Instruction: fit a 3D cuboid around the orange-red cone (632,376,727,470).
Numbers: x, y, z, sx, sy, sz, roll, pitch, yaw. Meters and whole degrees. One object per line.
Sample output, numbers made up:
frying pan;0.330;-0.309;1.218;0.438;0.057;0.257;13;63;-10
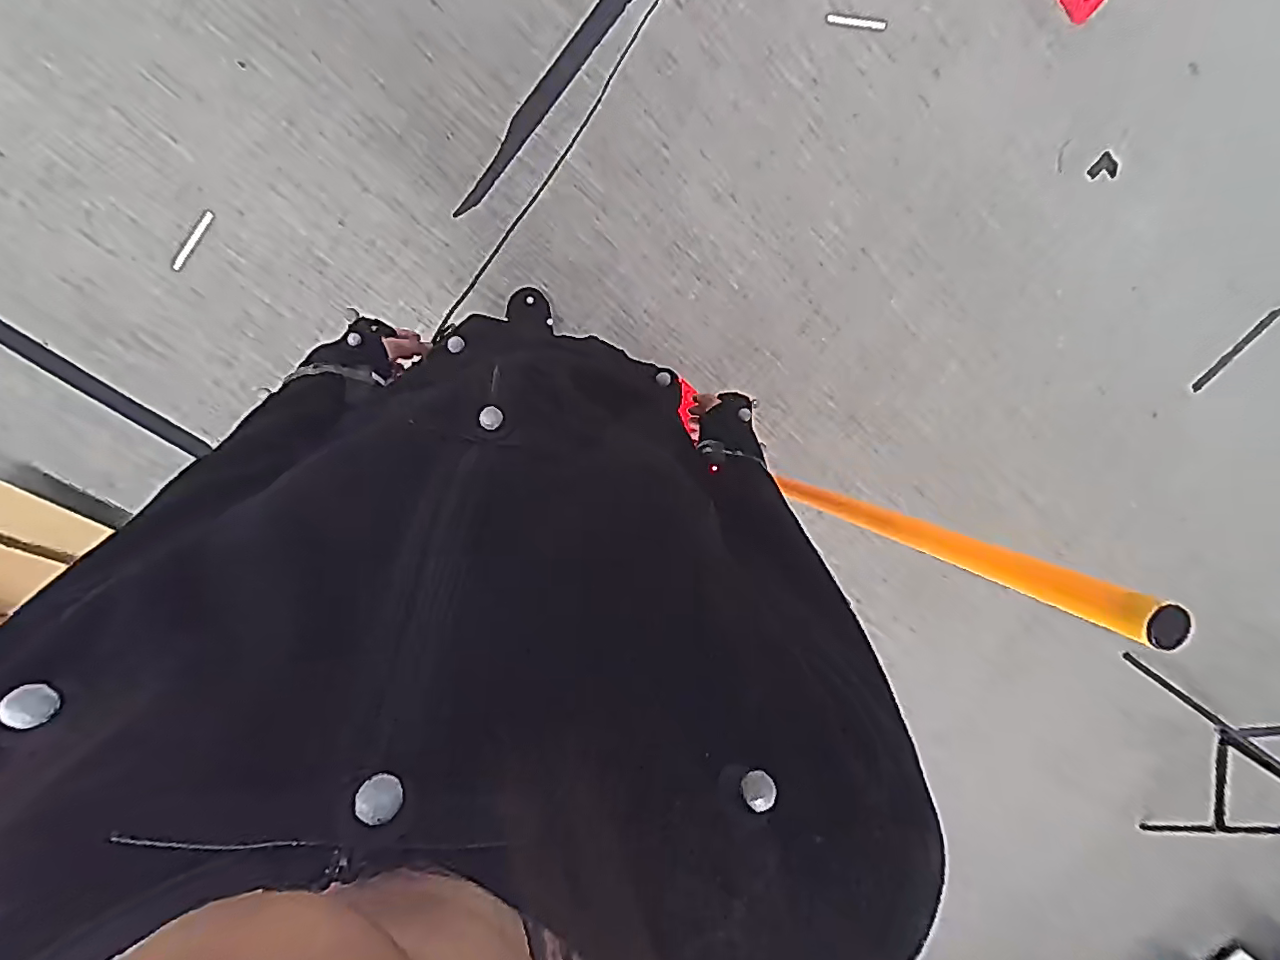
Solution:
orange-red cone;0.124;-0.094;1.252;0.198;0.360;0.199;42;99;-17
